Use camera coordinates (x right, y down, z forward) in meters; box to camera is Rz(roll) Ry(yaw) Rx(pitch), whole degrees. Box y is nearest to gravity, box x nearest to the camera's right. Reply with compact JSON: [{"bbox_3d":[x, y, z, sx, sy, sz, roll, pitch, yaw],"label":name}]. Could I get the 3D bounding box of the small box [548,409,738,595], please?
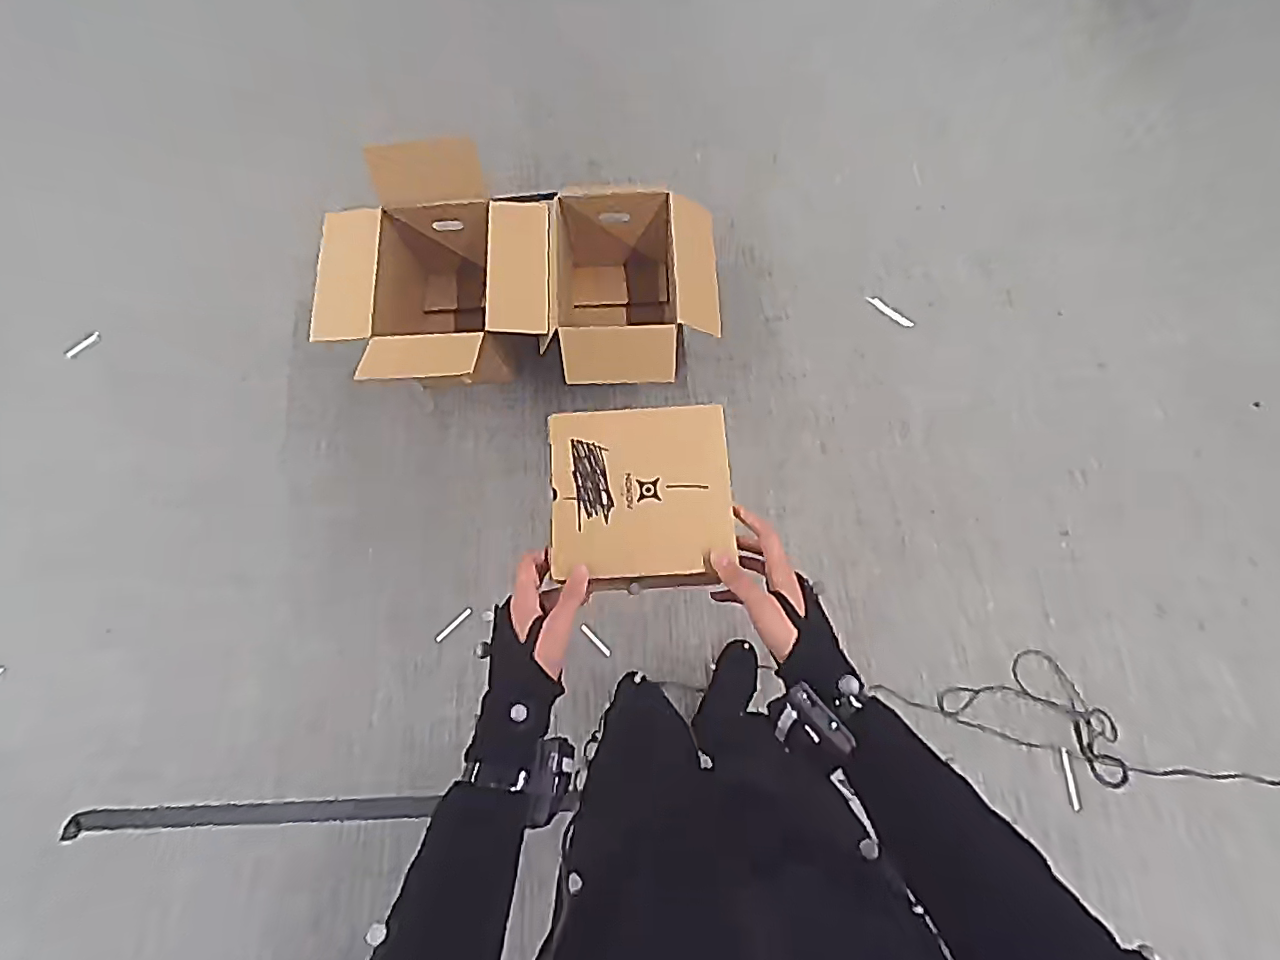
[{"bbox_3d":[0.004,0.034,0.588,0.179,0.176,0.168,-3,75,1],"label":"small box"}]
